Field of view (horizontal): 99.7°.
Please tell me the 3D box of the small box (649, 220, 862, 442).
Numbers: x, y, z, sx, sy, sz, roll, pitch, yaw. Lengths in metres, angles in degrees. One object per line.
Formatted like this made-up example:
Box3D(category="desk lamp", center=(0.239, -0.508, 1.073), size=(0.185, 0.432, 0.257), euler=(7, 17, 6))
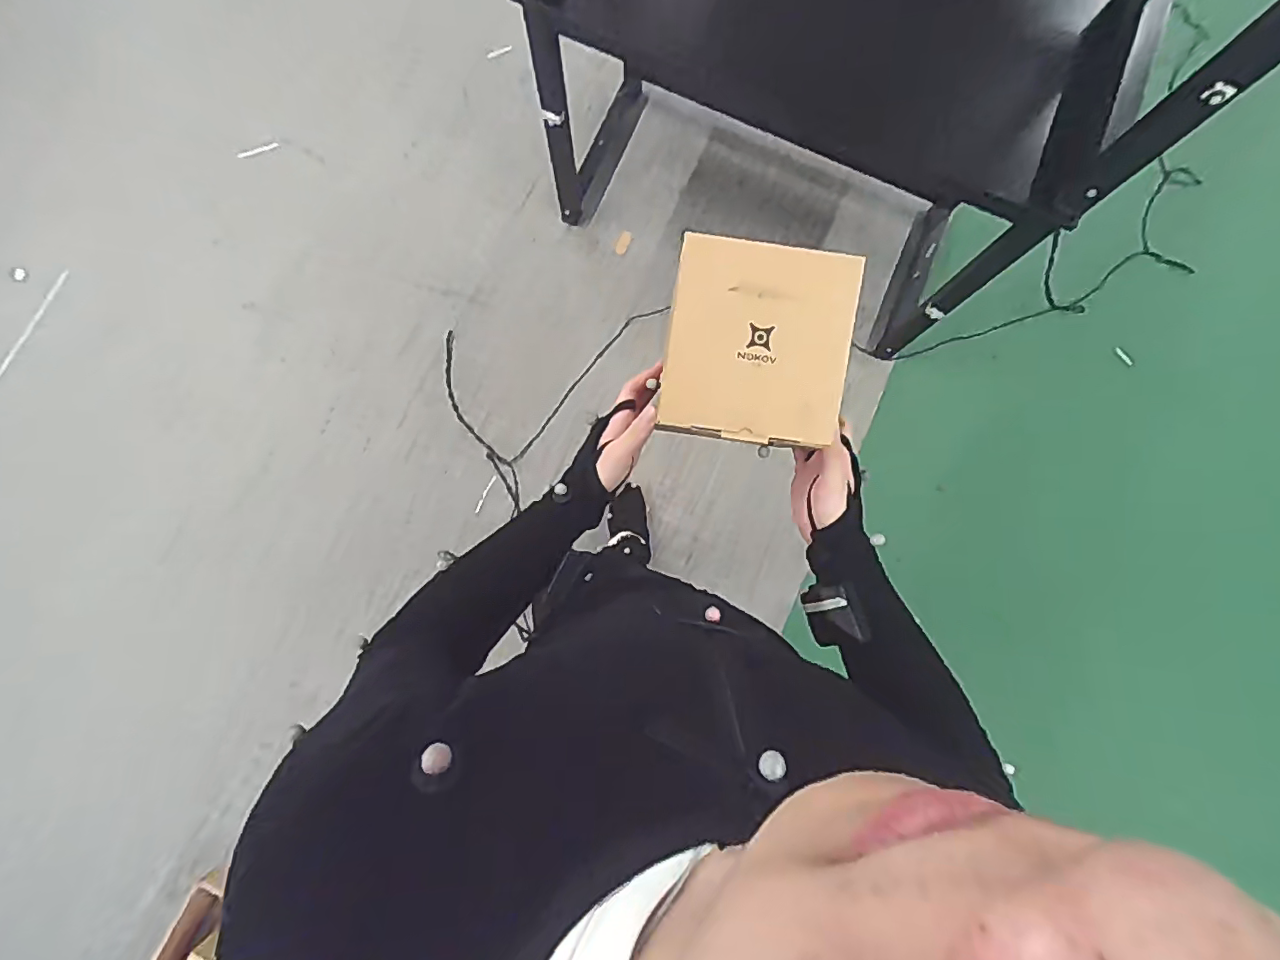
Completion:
Box3D(category="small box", center=(0.104, -0.138, 0.562), size=(0.168, 0.176, 0.179), euler=(9, 93, 0))
